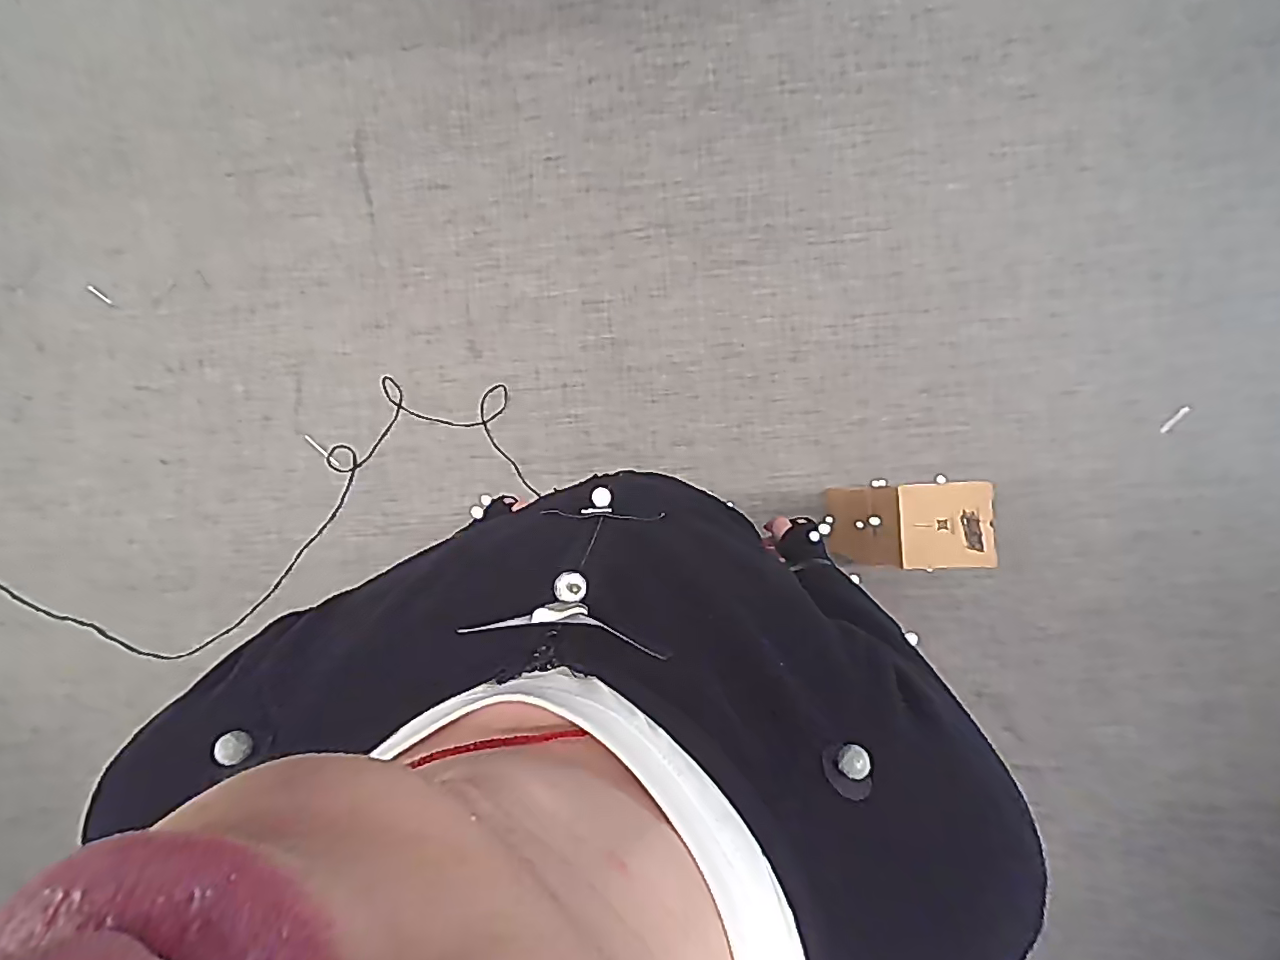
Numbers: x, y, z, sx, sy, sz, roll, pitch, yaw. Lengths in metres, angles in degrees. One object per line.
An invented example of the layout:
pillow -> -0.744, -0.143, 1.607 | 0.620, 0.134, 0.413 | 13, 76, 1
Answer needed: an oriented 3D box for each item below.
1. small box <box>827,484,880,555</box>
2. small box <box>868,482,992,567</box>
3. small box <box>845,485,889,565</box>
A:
small box -> 0.608, 0.102, 1.450 | 0.168, 0.176, 0.179 | -3, 90, 3
small box -> 0.593, 0.087, 1.123 | 0.179, 0.176, 0.168 | -2, 88, 5
small box -> 0.598, 0.100, 1.289 | 0.168, 0.176, 0.179 | -4, 91, 4
